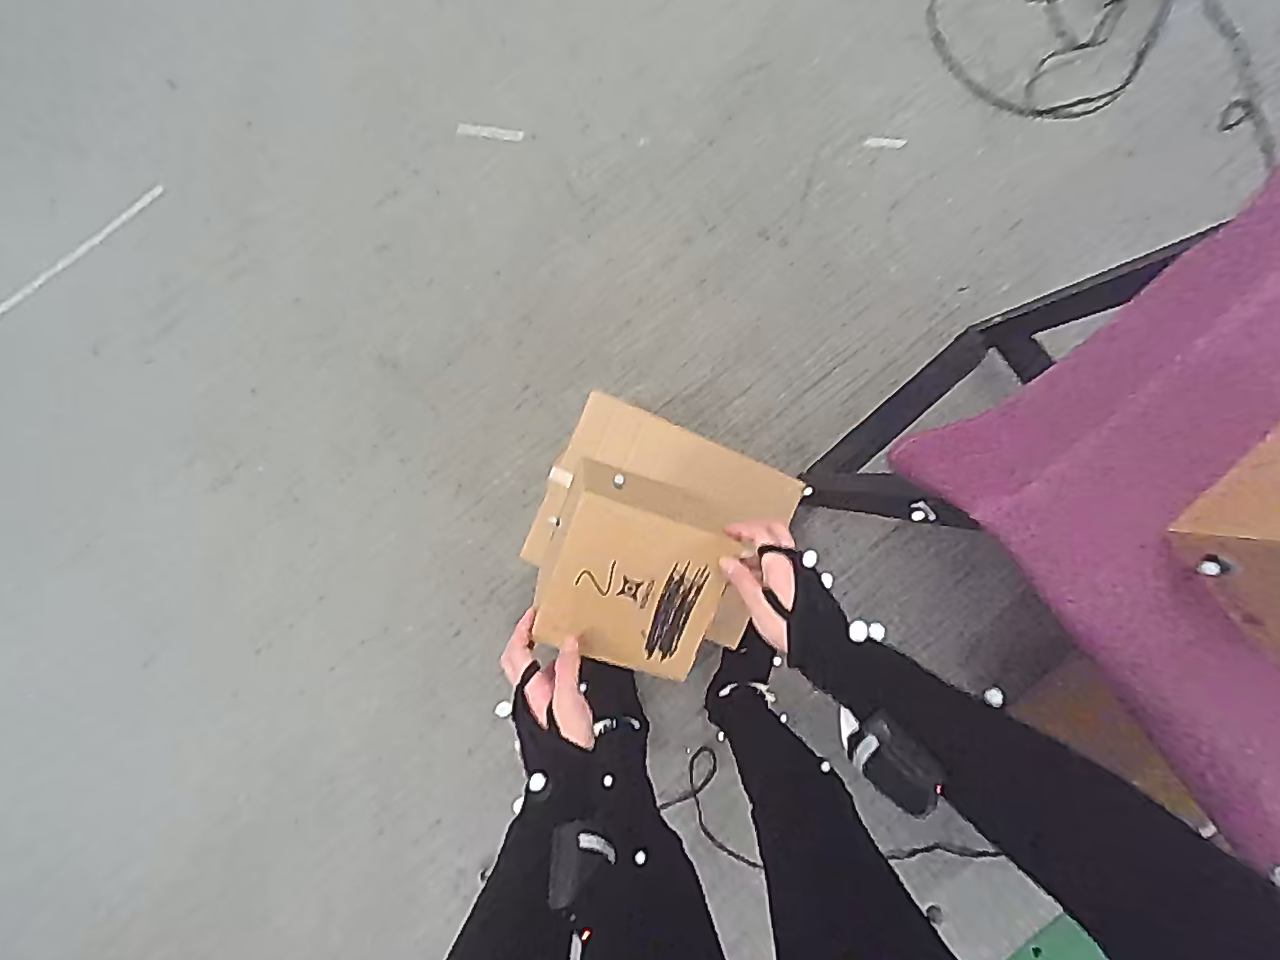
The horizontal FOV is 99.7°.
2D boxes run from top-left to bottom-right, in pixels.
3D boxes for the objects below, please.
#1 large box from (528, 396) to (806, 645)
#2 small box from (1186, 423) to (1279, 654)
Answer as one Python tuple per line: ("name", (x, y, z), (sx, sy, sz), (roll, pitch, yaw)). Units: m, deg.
("large box", (0.038, 0.072, 1.066), (0.408, 0.320, 0.320), (23, 89, -4))
("small box", (0.610, 0.051, 0.432), (0.179, 0.176, 0.168), (-41, 92, -4))
